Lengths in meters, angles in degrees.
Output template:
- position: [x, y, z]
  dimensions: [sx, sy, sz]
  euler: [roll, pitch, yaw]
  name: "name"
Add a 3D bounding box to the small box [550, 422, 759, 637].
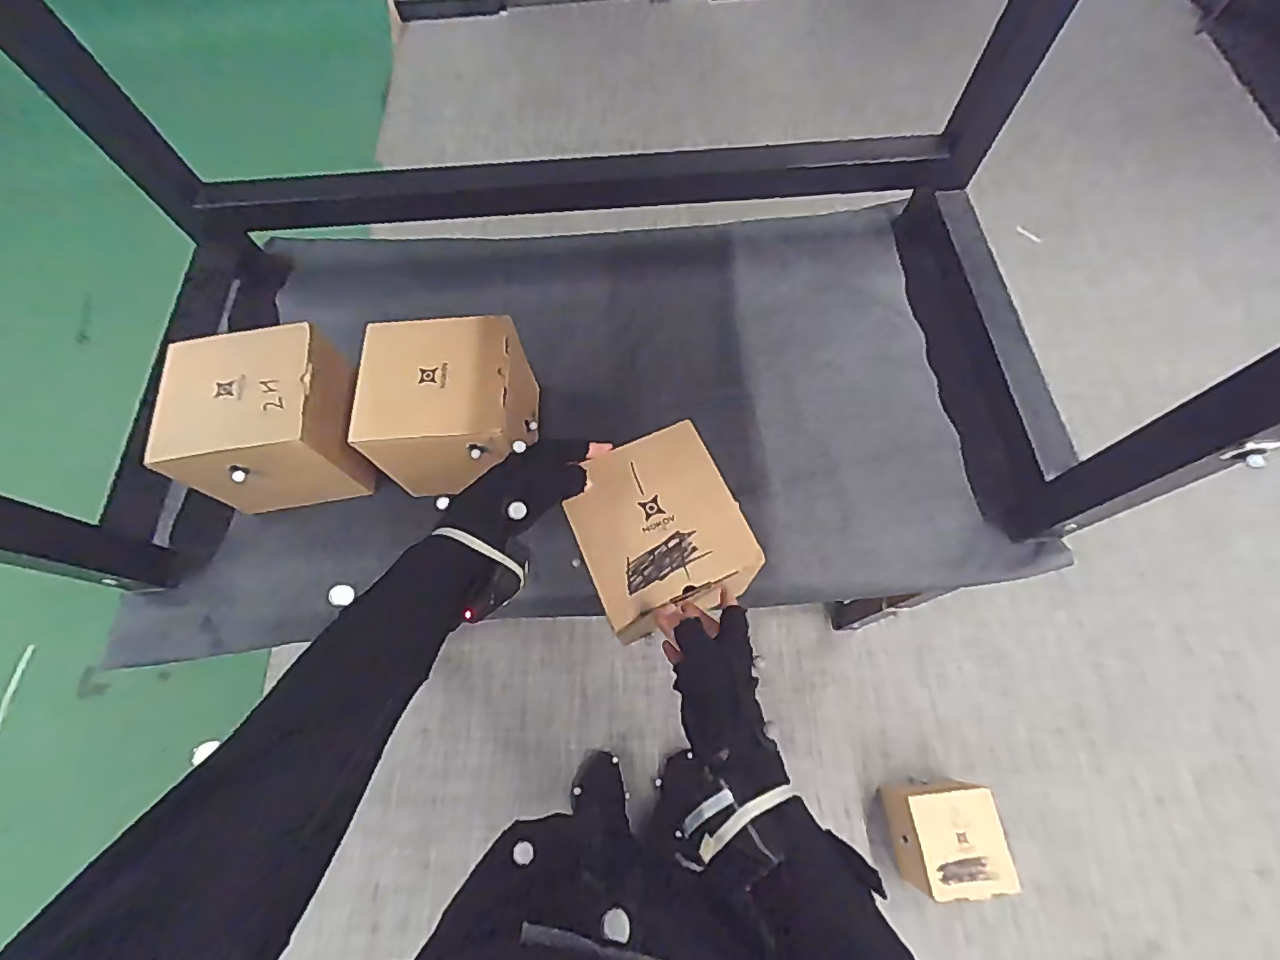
- position: [0.015, 0.068, 0.620]
  dimensions: [0.168, 0.176, 0.179]
  euler: [-22, 68, -7]
  name: "small box"
